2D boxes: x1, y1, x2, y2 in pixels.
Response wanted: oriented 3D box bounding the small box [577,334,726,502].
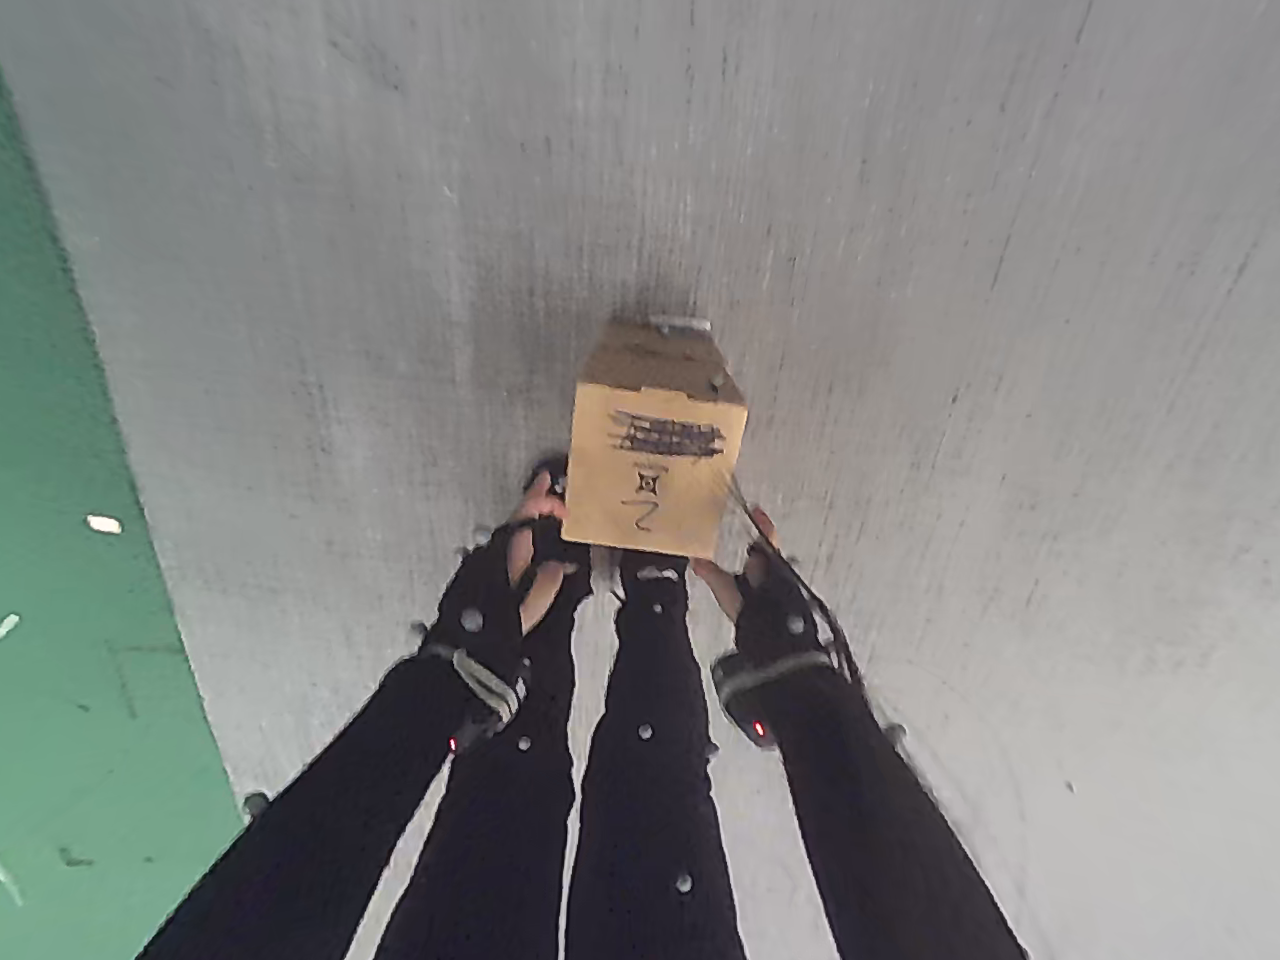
[{"bbox_3d":[0.013,-0.095,0.769,0.168,0.176,0.179,11,113,-4],"label":"small box"}]
